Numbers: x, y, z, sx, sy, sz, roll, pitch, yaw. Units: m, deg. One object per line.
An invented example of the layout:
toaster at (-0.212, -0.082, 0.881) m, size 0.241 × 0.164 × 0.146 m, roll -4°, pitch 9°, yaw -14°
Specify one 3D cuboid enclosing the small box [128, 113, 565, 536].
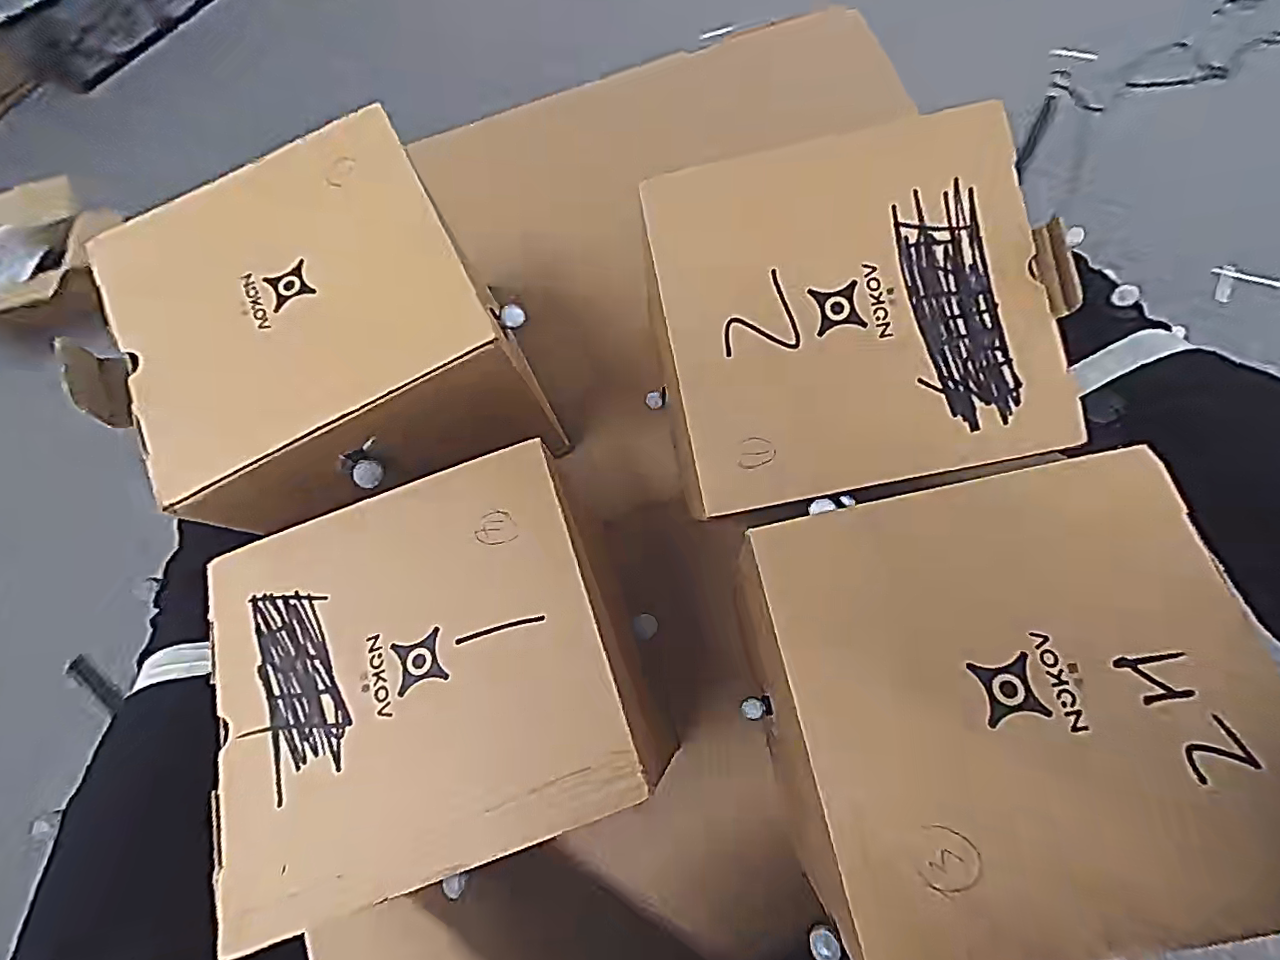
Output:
small box at (-0.163, -0.080, 0.358) m, size 0.179 × 0.176 × 0.168 m, roll -27°, pitch 74°, yaw -1°
